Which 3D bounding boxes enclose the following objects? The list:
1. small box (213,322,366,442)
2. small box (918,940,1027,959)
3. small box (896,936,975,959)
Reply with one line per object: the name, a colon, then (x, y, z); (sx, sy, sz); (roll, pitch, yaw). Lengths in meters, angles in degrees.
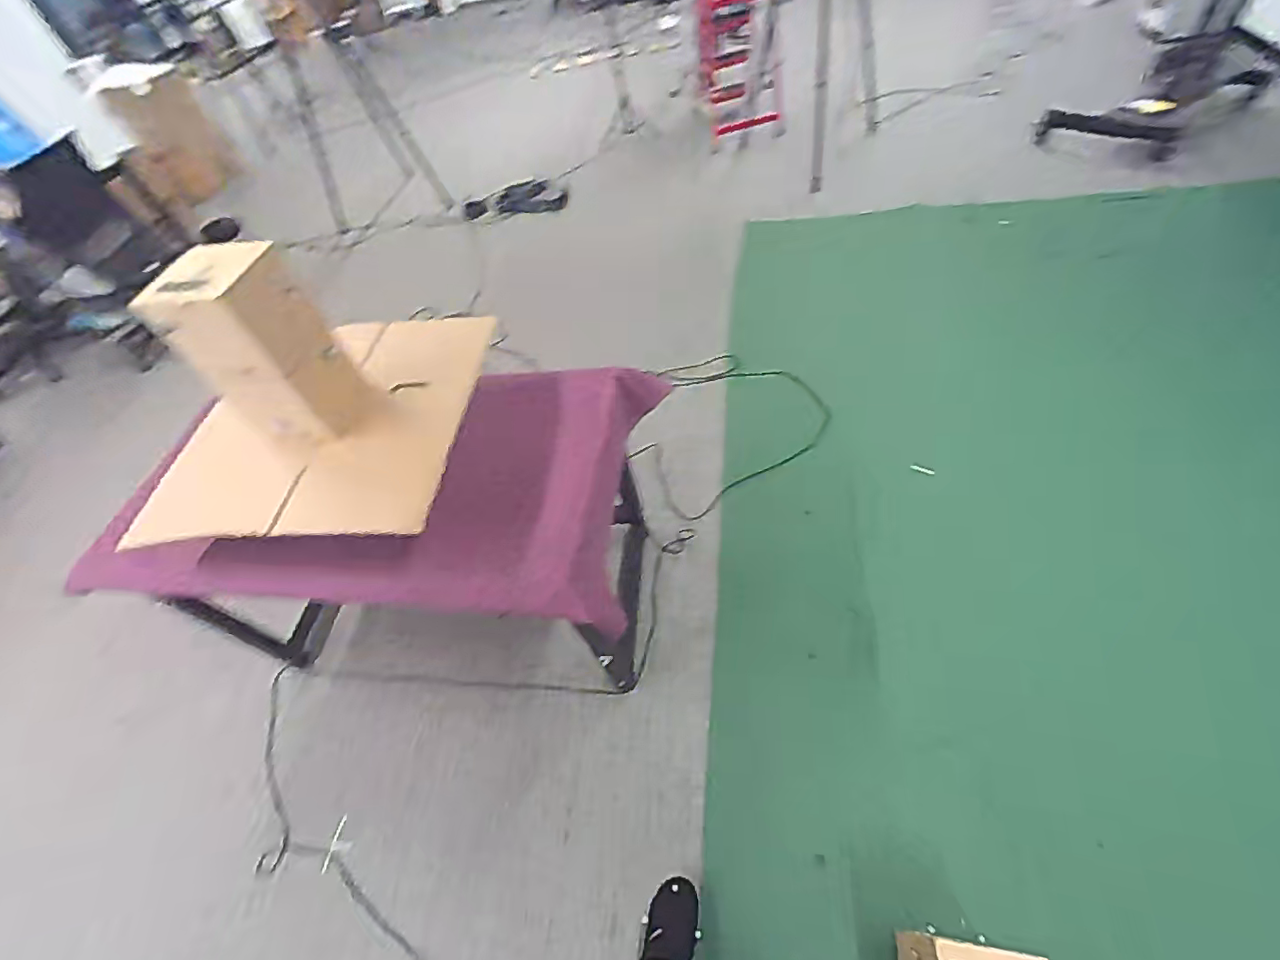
small box: (-0.692, -0.197, 1.097); (0.168, 0.176, 0.179); (0, 53, 9)
small box: (0.591, 0.908, 0.922); (0.179, 0.176, 0.168); (2, 53, 12)
small box: (0.617, 1.008, 1.049); (0.179, 0.176, 0.168); (1, 53, 13)
